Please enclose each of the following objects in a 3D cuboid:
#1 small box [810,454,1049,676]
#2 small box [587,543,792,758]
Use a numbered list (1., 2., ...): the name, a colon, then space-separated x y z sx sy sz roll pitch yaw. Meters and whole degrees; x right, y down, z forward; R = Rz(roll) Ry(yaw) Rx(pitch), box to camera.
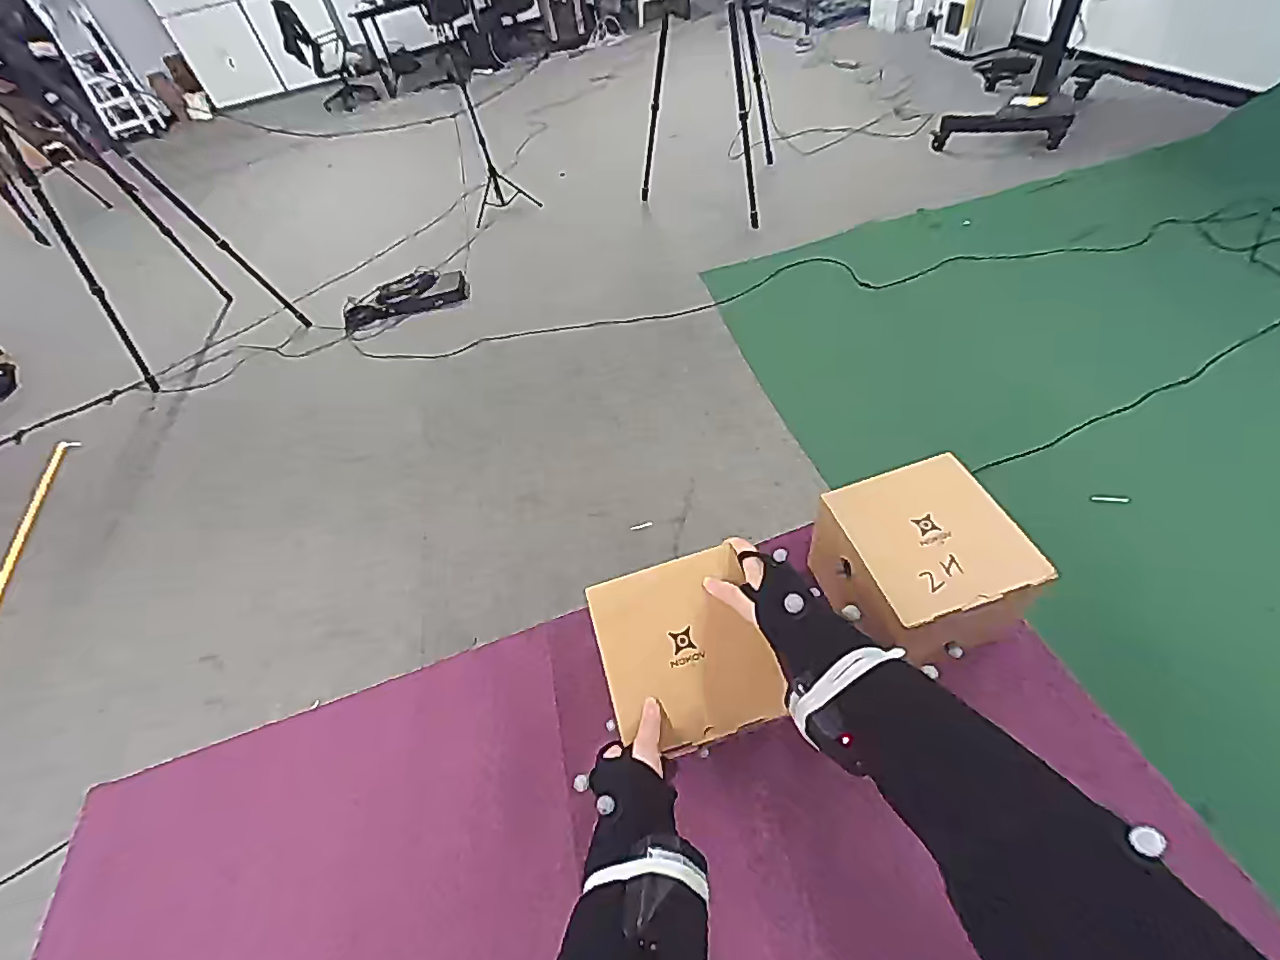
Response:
1. small box: 0.317 0.104 0.642 0.168 0.176 0.179 -18 52 -2
2. small box: 0.049 0.198 0.608 0.168 0.176 0.179 -17 63 -2
